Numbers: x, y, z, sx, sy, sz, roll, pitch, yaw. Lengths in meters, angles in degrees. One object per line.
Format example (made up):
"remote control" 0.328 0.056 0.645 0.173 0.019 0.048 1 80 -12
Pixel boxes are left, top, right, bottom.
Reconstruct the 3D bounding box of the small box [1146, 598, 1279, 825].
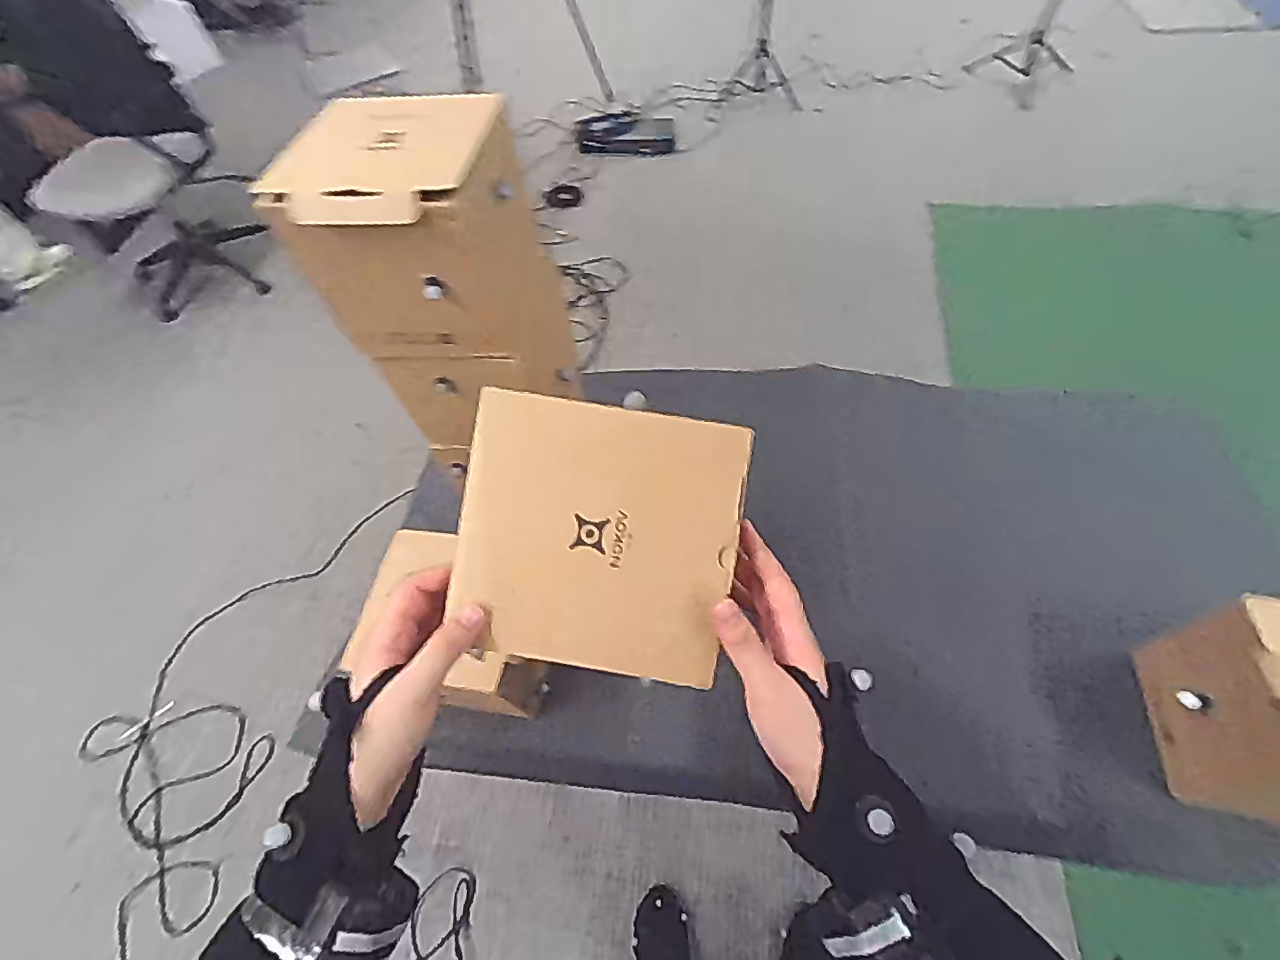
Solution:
"small box" 0.656 0.239 0.532 0.179 0.176 0.168 9 55 12

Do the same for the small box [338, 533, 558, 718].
"small box" -0.210 0.181 0.655 0.179 0.176 0.168 5 59 9

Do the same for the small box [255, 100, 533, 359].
"small box" -0.212 -0.235 0.528 0.168 0.176 0.179 2 57 5

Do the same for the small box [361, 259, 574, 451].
"small box" -0.193 -0.149 0.665 0.179 0.176 0.168 4 60 8
